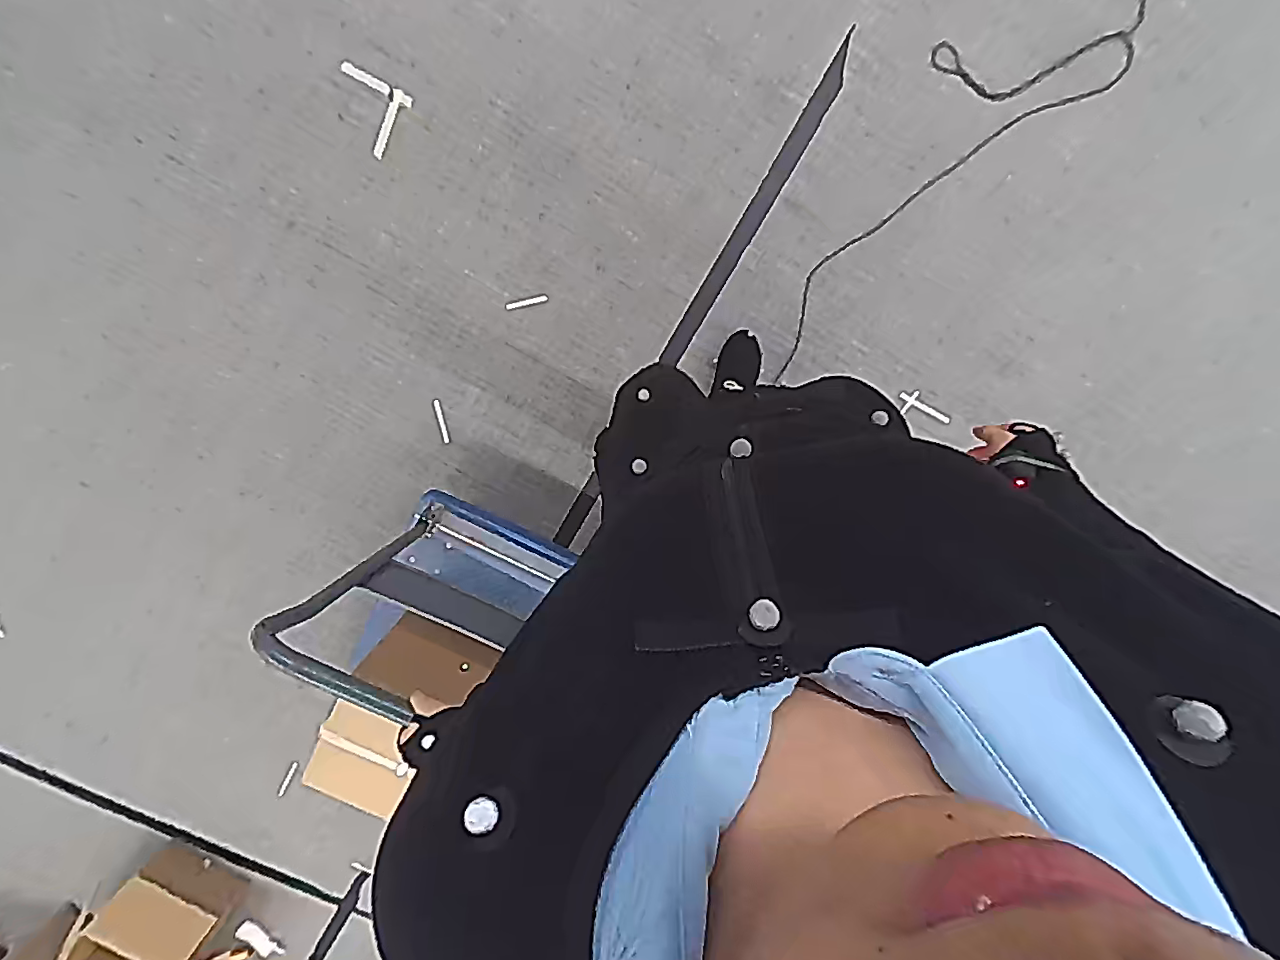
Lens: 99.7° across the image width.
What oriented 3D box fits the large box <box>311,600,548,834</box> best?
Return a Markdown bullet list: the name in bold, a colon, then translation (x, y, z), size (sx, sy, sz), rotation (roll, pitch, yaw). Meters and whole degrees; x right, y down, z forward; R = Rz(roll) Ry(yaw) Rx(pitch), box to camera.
- **large box**: translation (-0.490, 0.562, 1.332), size (0.408, 0.320, 0.320), rotation (28, 104, -7)
